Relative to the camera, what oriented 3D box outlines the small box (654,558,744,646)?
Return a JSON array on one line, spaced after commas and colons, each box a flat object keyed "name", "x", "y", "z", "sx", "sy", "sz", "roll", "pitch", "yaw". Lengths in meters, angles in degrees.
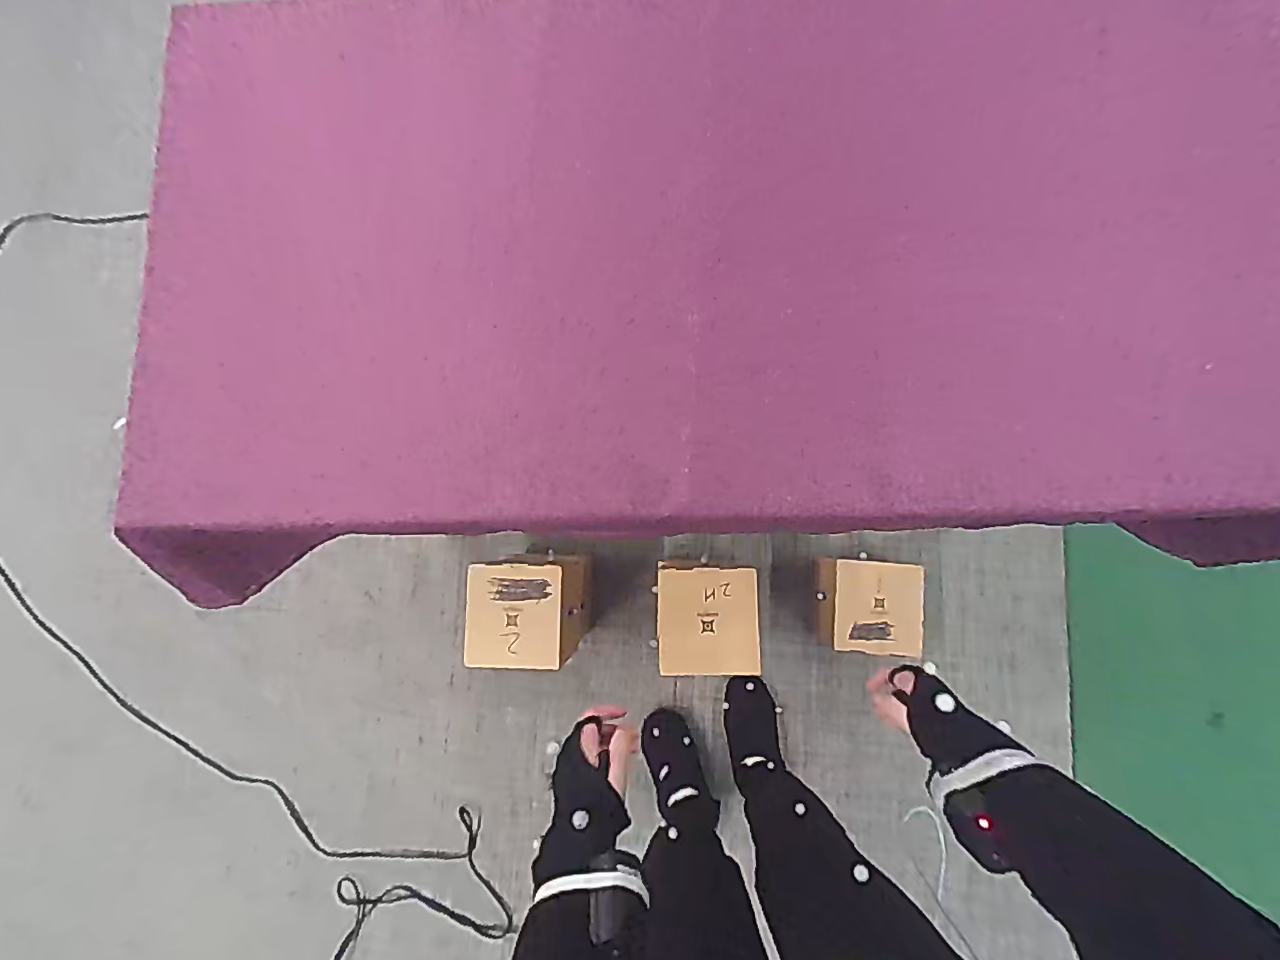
[{"name": "small box", "x": 0.124, "y": 0.251, "z": 1.141, "sx": 0.179, "sy": 0.176, "sz": 0.168, "roll": 0, "pitch": 84, "yaw": 5}]
